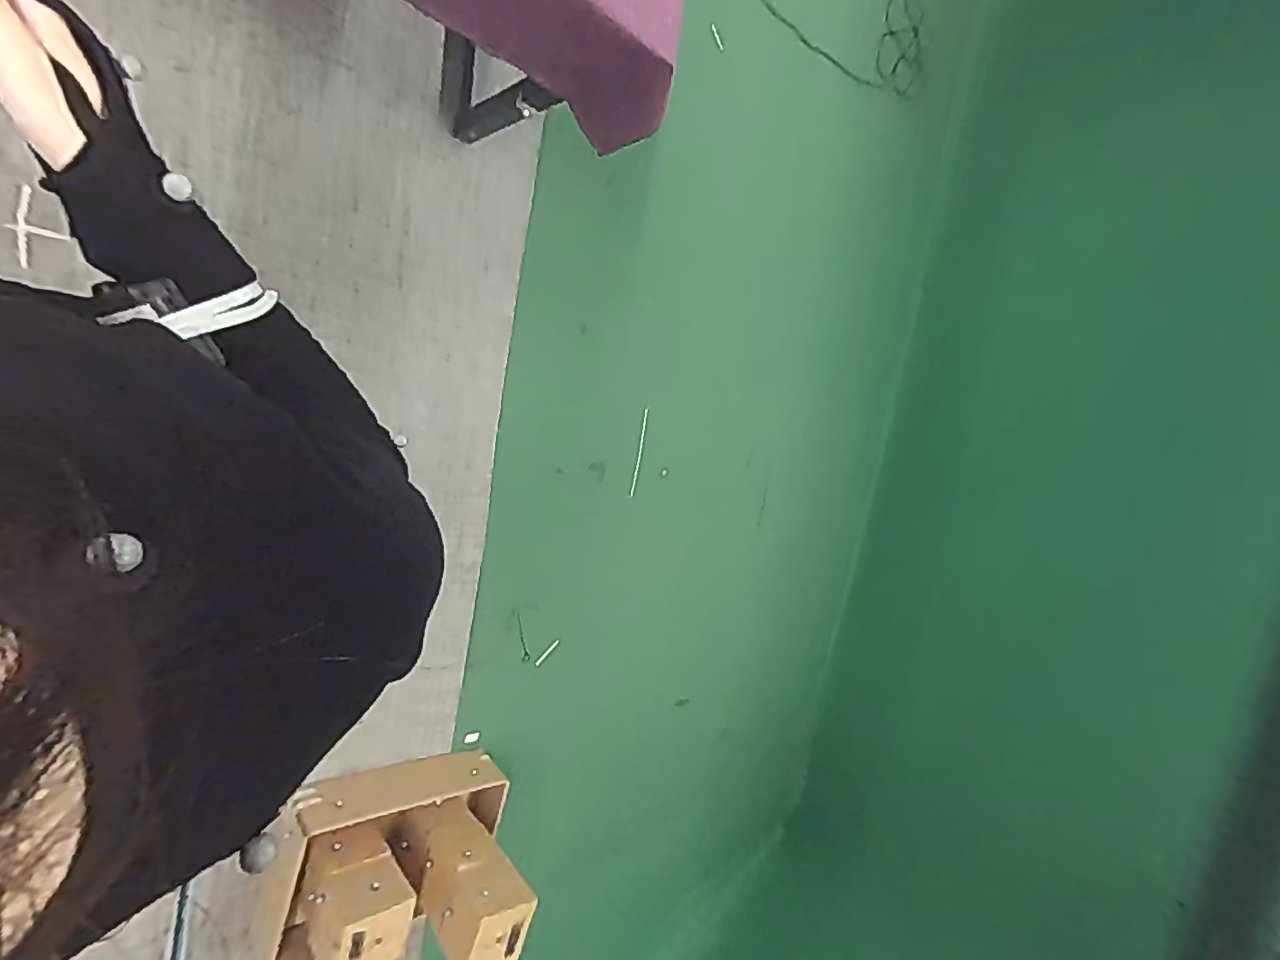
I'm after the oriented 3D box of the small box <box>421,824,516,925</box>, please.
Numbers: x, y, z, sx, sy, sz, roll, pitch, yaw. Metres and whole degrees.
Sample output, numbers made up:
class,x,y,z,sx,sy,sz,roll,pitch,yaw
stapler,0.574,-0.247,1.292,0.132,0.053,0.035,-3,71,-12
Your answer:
class,x,y,z,sx,sy,sz,roll,pitch,yaw
small box,-0.499,1.133,1.571,0.179,0.176,0.168,29,81,-42

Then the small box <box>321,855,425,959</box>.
class,x,y,z,sx,sy,sz,roll,pitch,yaw
small box,-0.683,1.110,1.376,0.179,0.176,0.168,13,91,-47
